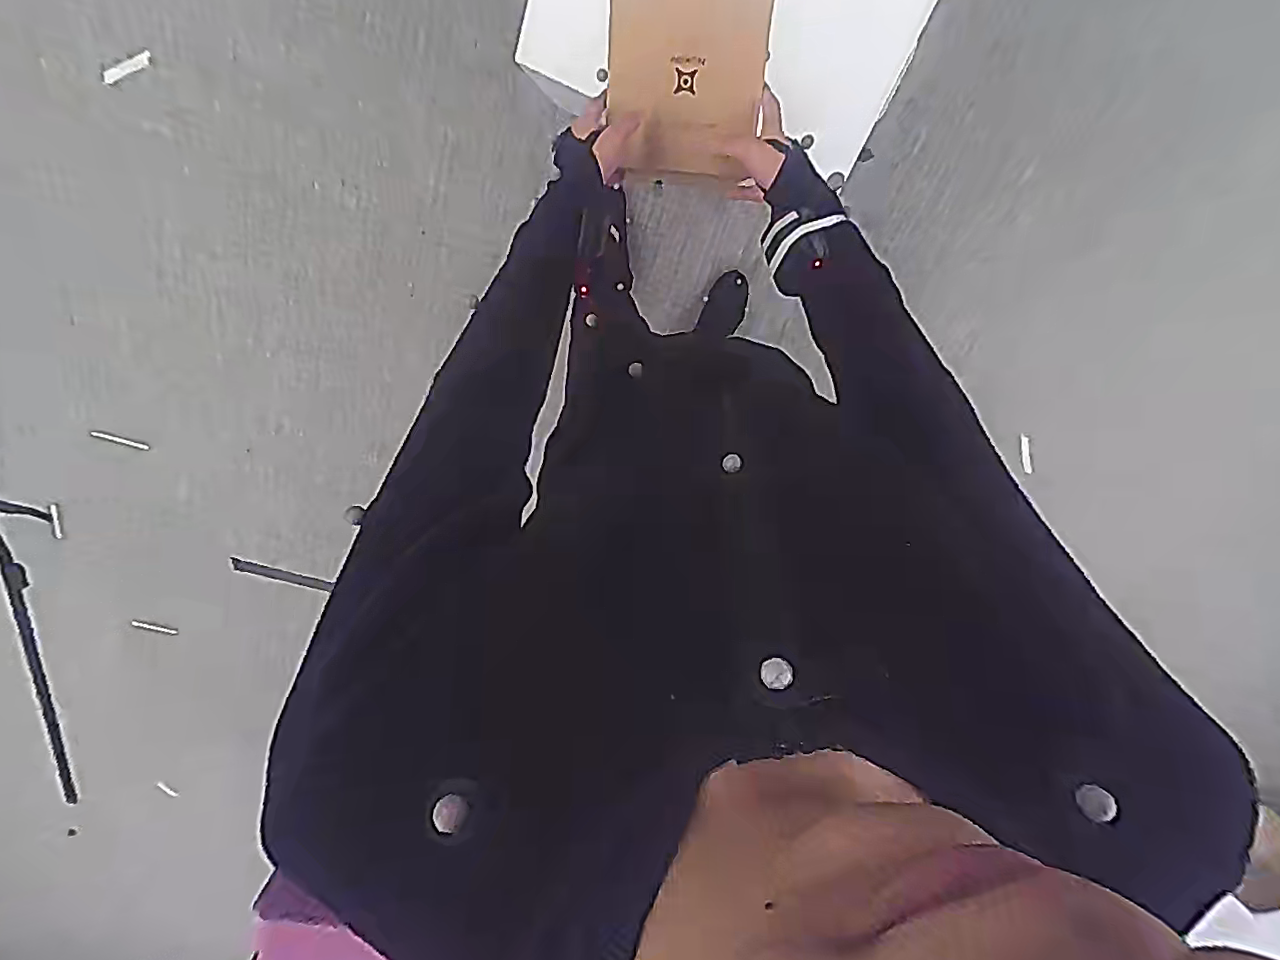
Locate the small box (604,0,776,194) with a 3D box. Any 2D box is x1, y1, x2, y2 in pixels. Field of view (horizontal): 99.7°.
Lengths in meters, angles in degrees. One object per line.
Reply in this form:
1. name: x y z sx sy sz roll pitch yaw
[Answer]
1. small box: 0.046 -0.448 0.636 0.168 0.176 0.179 4 114 -2
